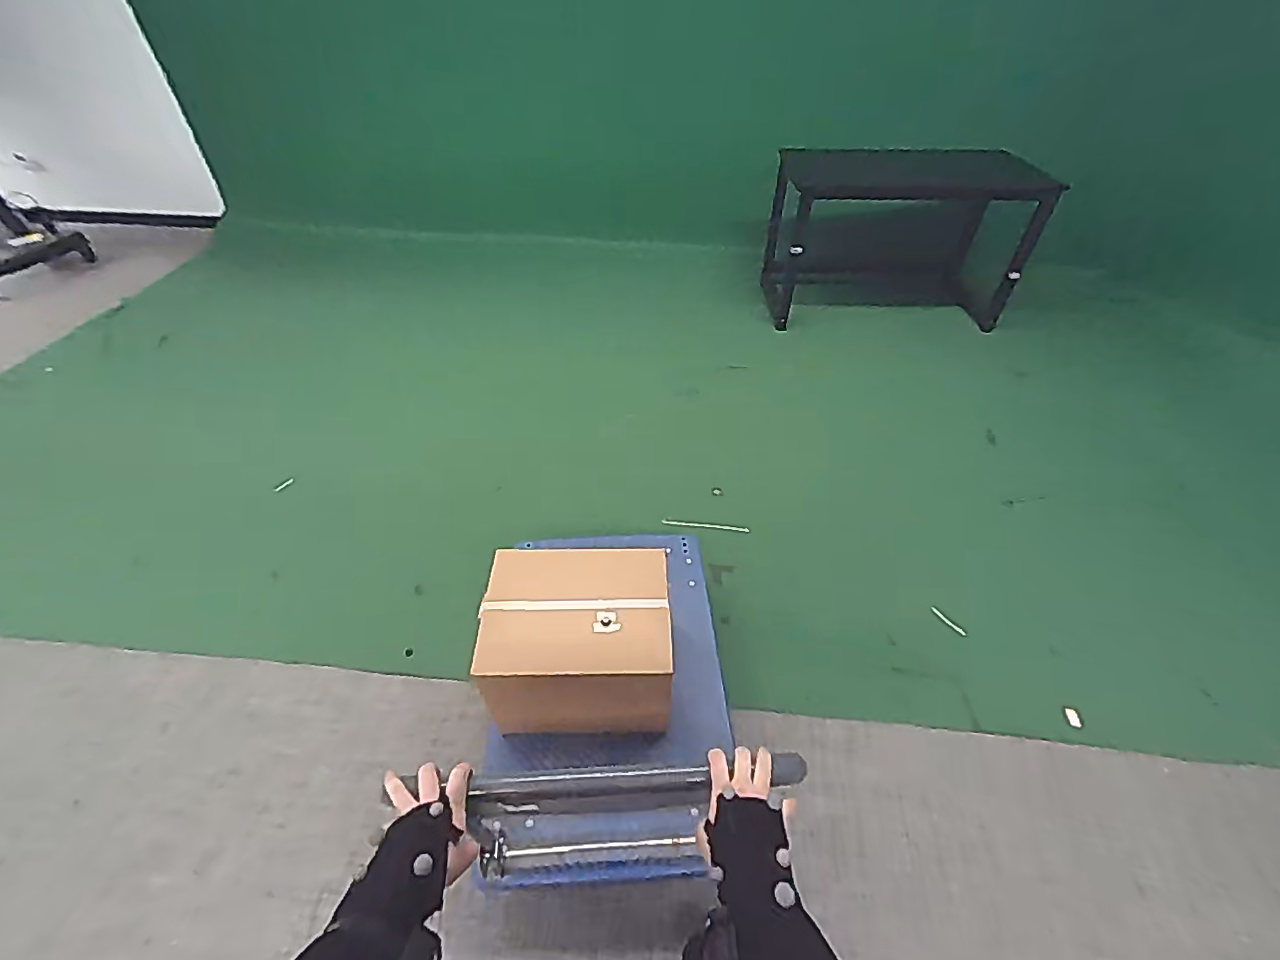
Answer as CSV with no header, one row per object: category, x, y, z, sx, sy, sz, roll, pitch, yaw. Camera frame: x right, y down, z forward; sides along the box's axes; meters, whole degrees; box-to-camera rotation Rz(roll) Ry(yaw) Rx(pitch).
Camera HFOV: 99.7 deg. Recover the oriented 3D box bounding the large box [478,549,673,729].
large box,-0.139,0.383,1.303,0.408,0.320,0.320,0,45,-2
